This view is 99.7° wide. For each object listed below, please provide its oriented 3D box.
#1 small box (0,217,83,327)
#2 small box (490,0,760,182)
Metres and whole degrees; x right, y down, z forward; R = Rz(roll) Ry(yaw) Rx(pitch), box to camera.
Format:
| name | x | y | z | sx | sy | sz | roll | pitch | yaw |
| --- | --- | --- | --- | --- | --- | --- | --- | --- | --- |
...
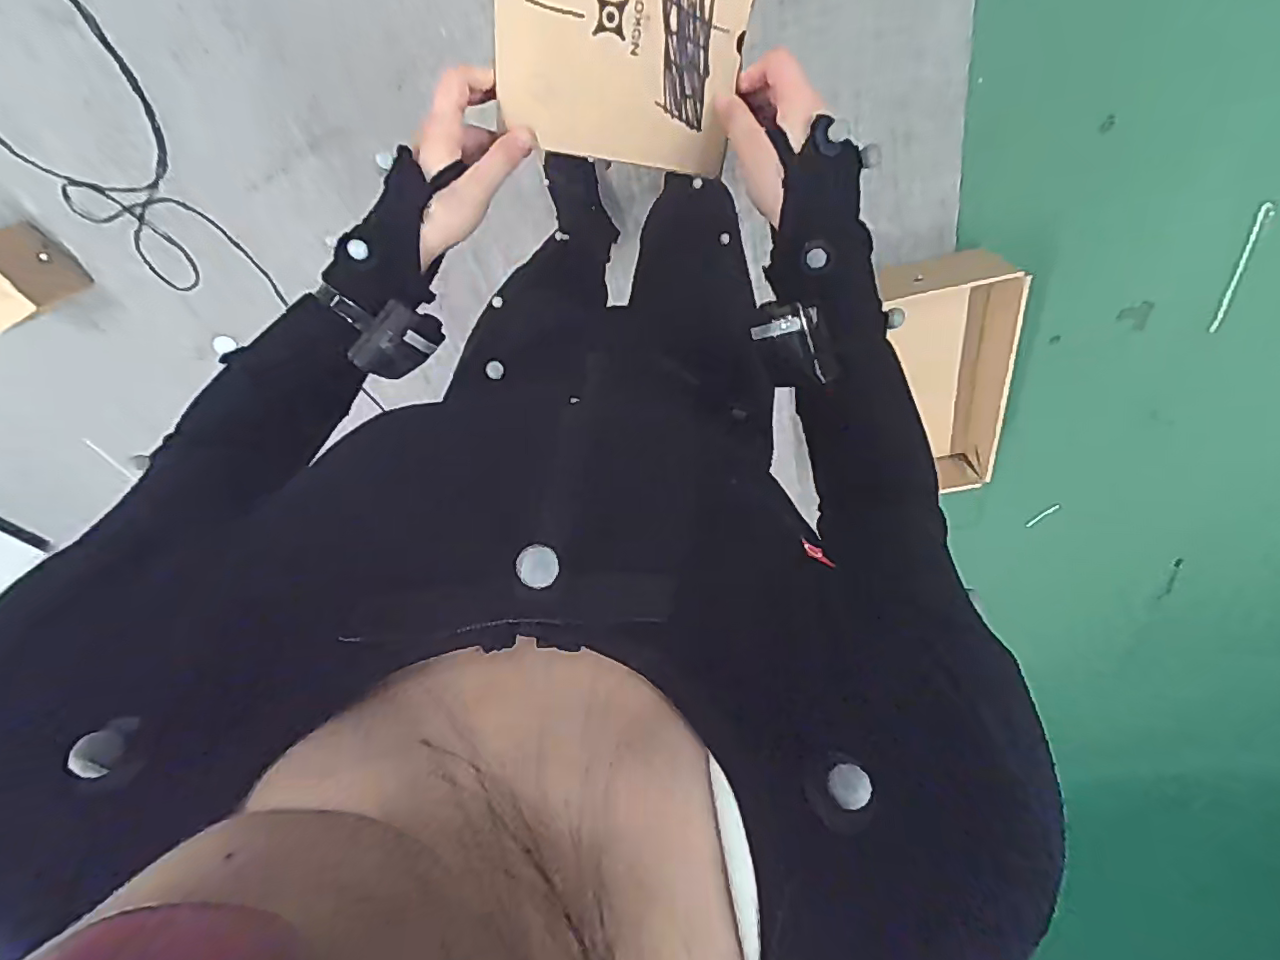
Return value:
| name | x | y | z | sx | sy | sz | roll | pitch | yaw |
| --- | --- | --- | --- | --- | --- | --- | --- | --- | --- |
| small box | -1.475 | -0.477 | 1.253 | 0.179 | 0.176 | 0.168 | -20 | 128 | 16 |
| small box | -0.010 | -0.351 | 0.420 | 0.179 | 0.176 | 0.168 | 8 | 128 | -3 |
